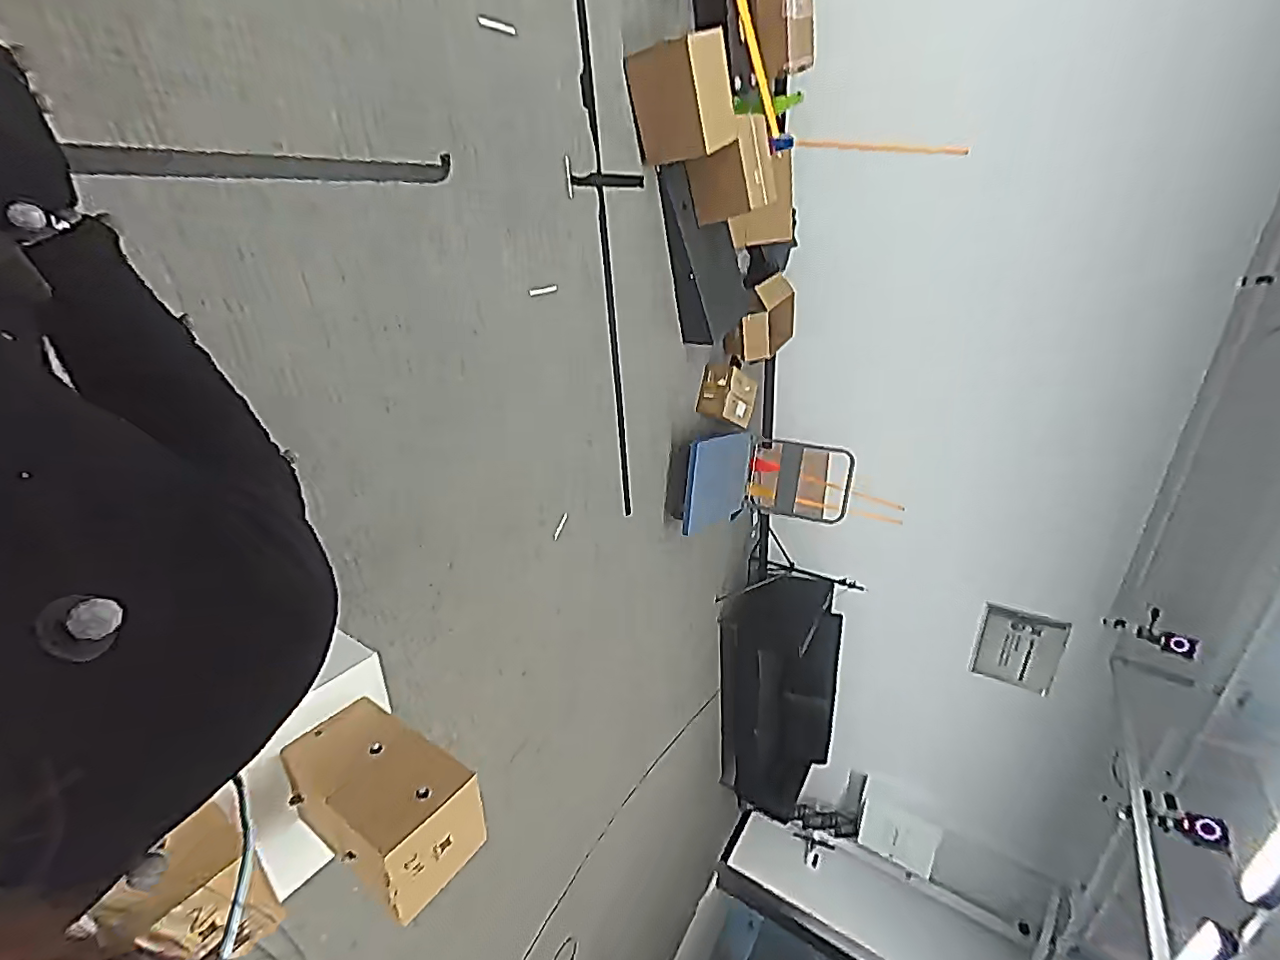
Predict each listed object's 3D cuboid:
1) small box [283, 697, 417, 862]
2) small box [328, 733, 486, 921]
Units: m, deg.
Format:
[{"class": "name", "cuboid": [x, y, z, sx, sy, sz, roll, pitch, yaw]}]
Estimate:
[{"class": "small box", "cuboid": [-0.531, 0.548, 1.013, 0.168, 0.176, 0.179, -29, 126, -51]}, {"class": "small box", "cuboid": [-0.393, 0.578, 0.927, 0.179, 0.176, 0.168, -28, 124, -50]}]
